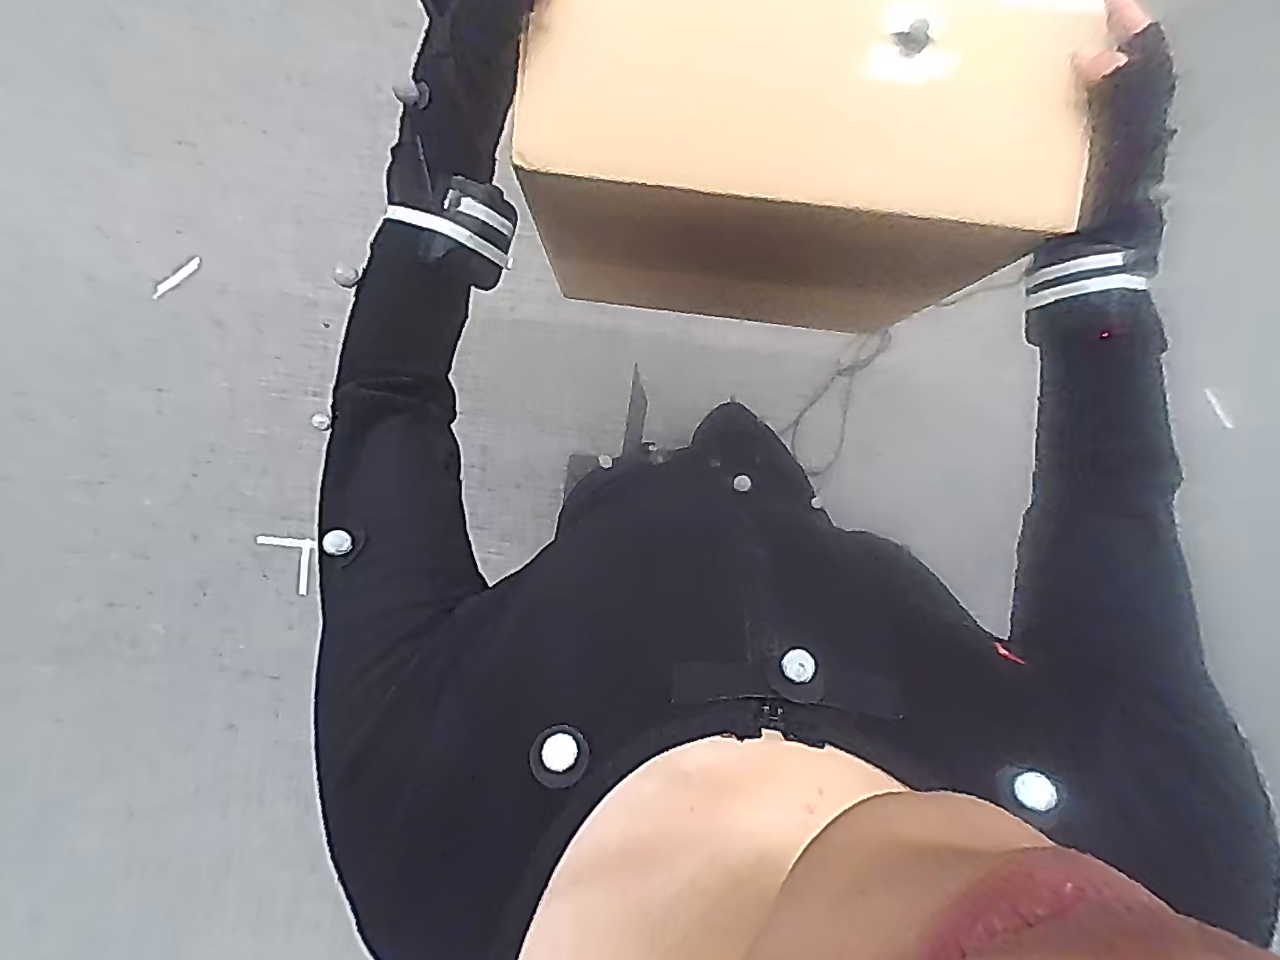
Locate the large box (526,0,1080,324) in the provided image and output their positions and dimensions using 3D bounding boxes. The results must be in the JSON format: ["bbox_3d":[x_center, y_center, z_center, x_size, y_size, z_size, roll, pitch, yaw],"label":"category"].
[{"bbox_3d":[0.120,-0.365,0.542,0.408,0.320,0.320,6,92,-2],"label":"large box"}]

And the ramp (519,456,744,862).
[{"bbox_3d":[-0.010,0.449,1.445,0.509,0.206,0.991,6,91,1],"label":"ramp"}]
